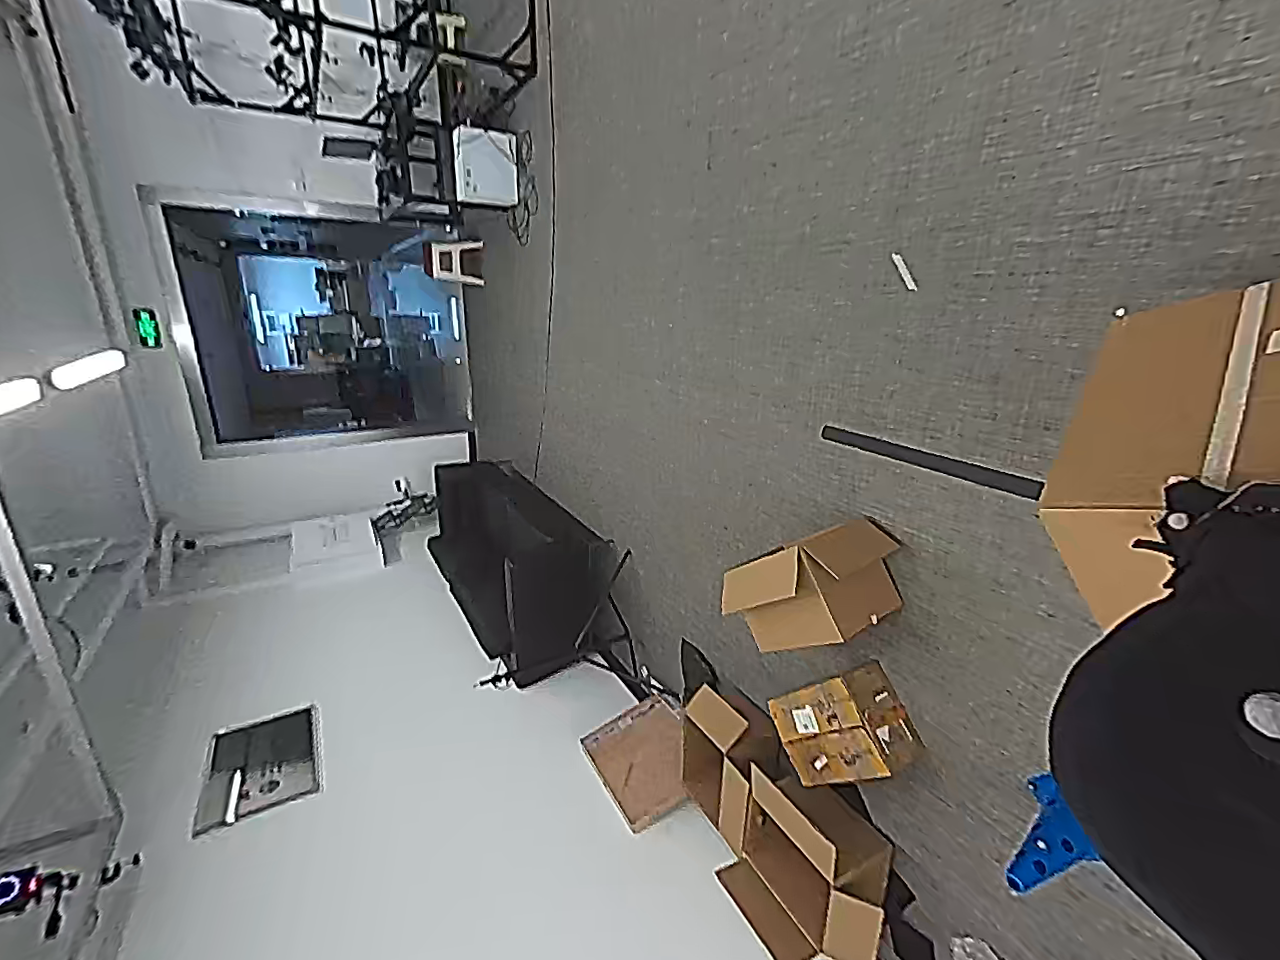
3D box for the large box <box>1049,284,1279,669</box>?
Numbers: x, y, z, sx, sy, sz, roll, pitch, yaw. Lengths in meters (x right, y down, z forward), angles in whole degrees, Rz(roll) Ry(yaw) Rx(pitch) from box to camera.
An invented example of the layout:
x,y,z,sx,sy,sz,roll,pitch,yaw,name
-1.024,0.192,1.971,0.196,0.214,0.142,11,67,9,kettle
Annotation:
x,y,z,sx,sy,sz,roll,pitch,yaw,name
0.804,-0.005,0.689,0.320,0.408,0.320,49,156,-22,large box
